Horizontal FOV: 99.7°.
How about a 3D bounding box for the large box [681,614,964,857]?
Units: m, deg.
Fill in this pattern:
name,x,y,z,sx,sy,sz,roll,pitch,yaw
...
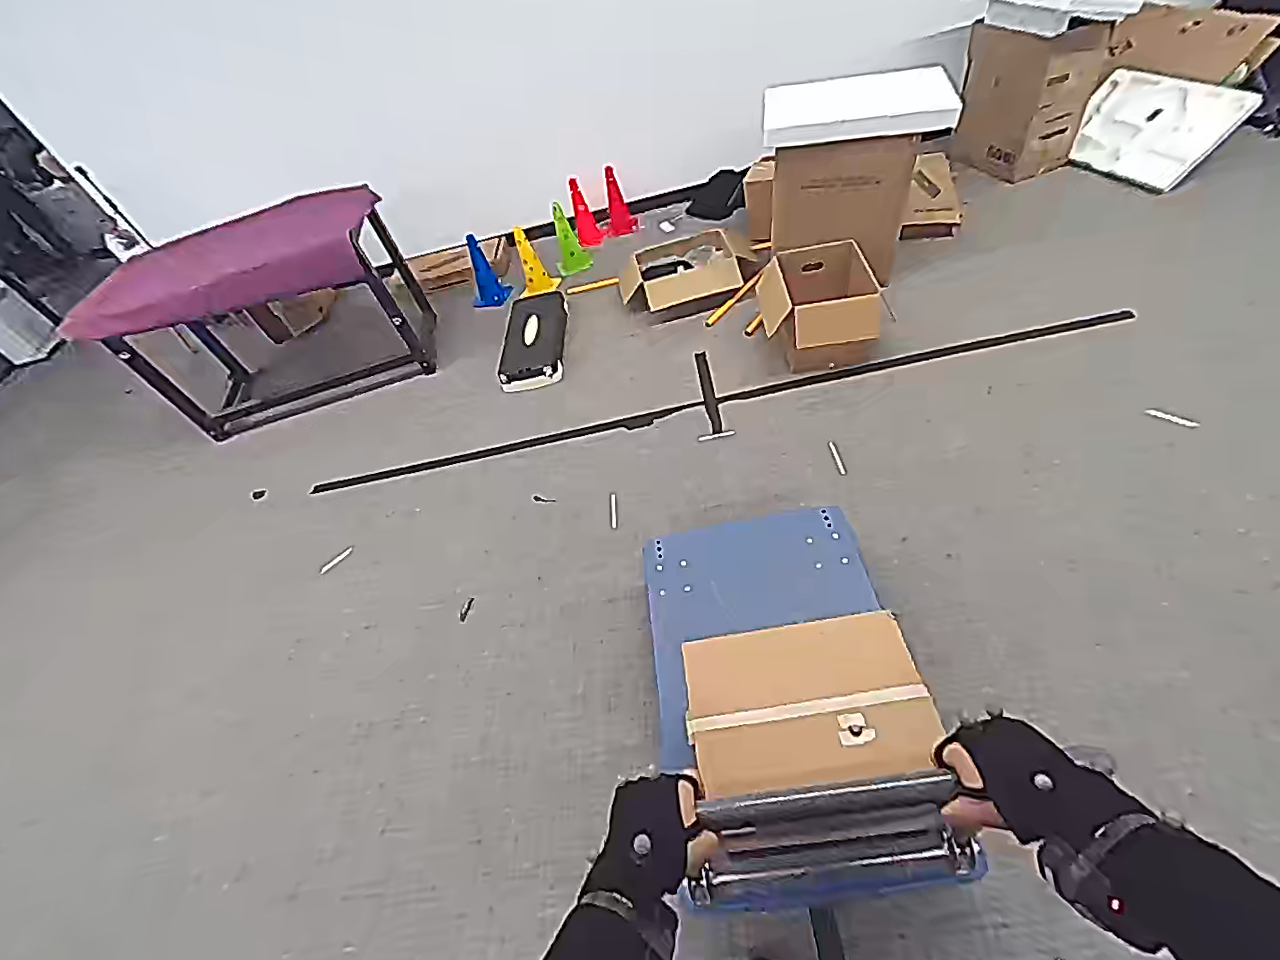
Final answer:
name,x,y,z,sx,sy,sz,roll,pitch,yaw
large box,0.312,0.498,1.041,0.408,0.320,0.320,-10,49,5
